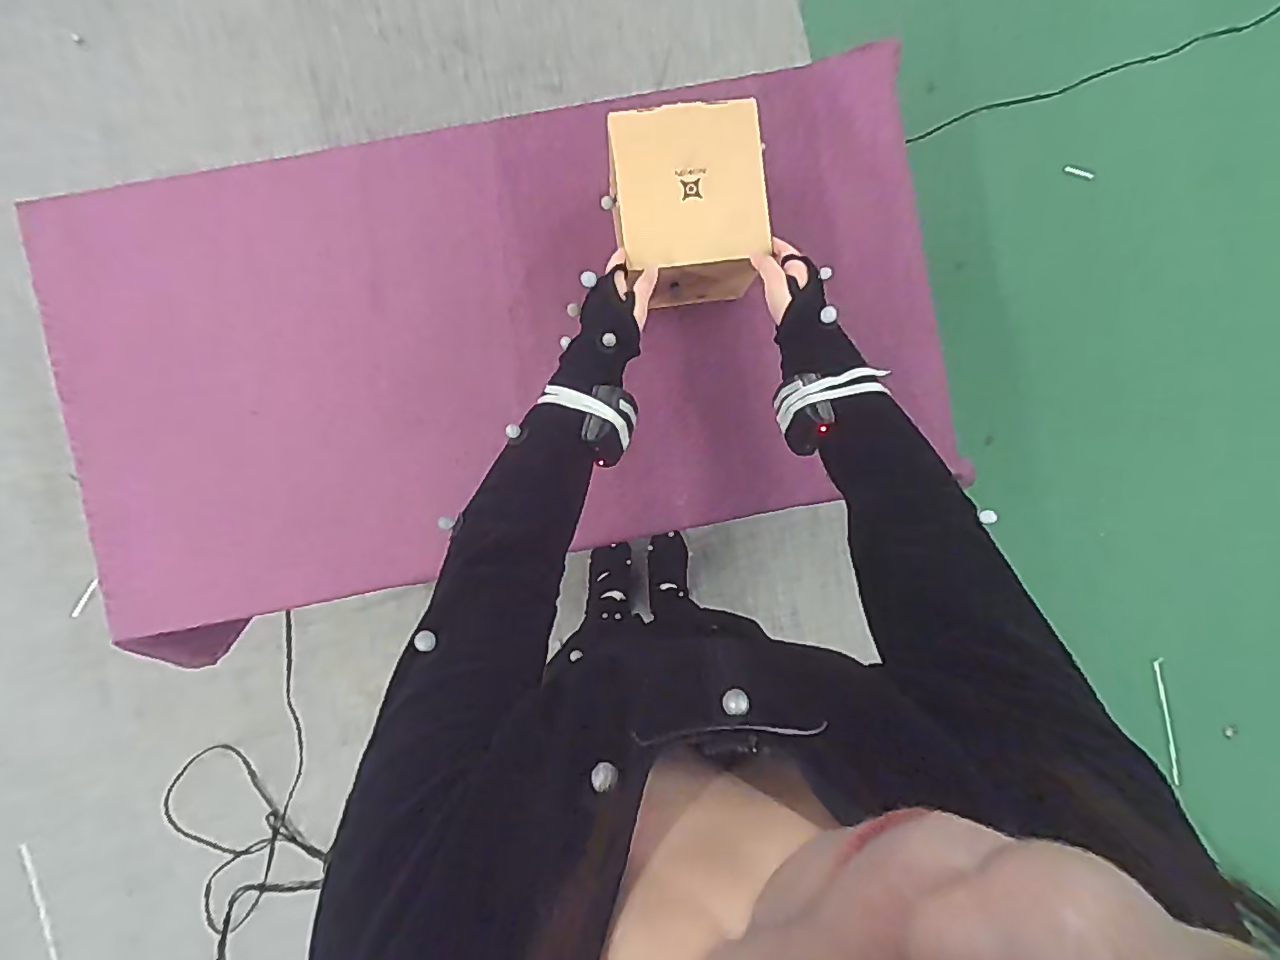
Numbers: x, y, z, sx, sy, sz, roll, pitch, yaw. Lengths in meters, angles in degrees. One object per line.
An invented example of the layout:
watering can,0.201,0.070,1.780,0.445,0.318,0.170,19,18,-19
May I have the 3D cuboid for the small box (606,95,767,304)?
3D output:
small box,0.052,-0.330,0.673,0.168,0.176,0.179,-7,91,-1
